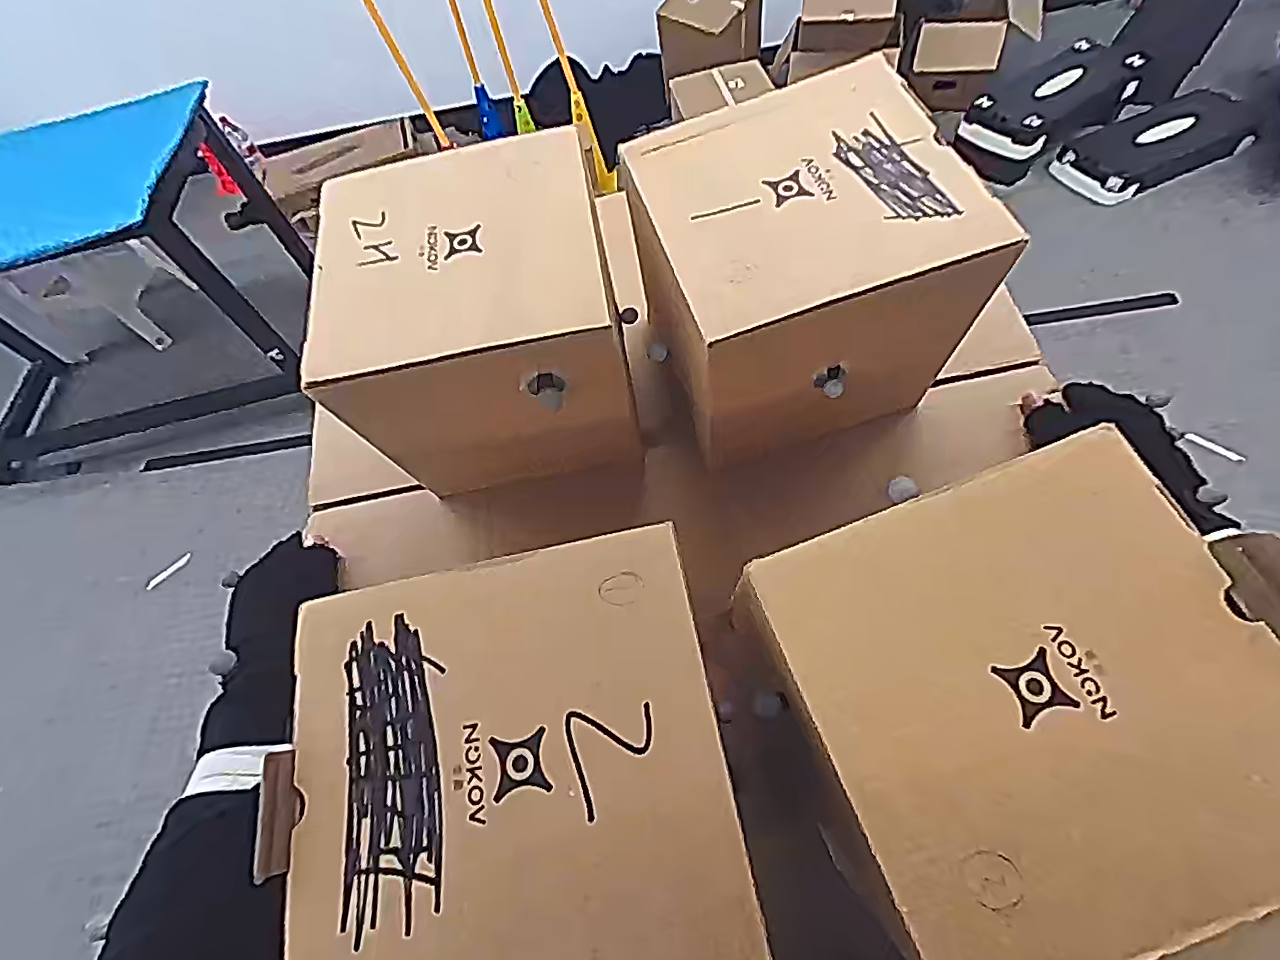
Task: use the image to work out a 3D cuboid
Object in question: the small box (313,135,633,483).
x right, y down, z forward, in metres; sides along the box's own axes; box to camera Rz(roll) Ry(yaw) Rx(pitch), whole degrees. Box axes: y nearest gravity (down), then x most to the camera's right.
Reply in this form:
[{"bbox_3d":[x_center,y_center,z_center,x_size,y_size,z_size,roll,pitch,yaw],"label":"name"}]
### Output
[{"bbox_3d":[-0.104,-0.113,0.410,0.179,0.176,0.168,-10,66,4],"label":"small box"}]
